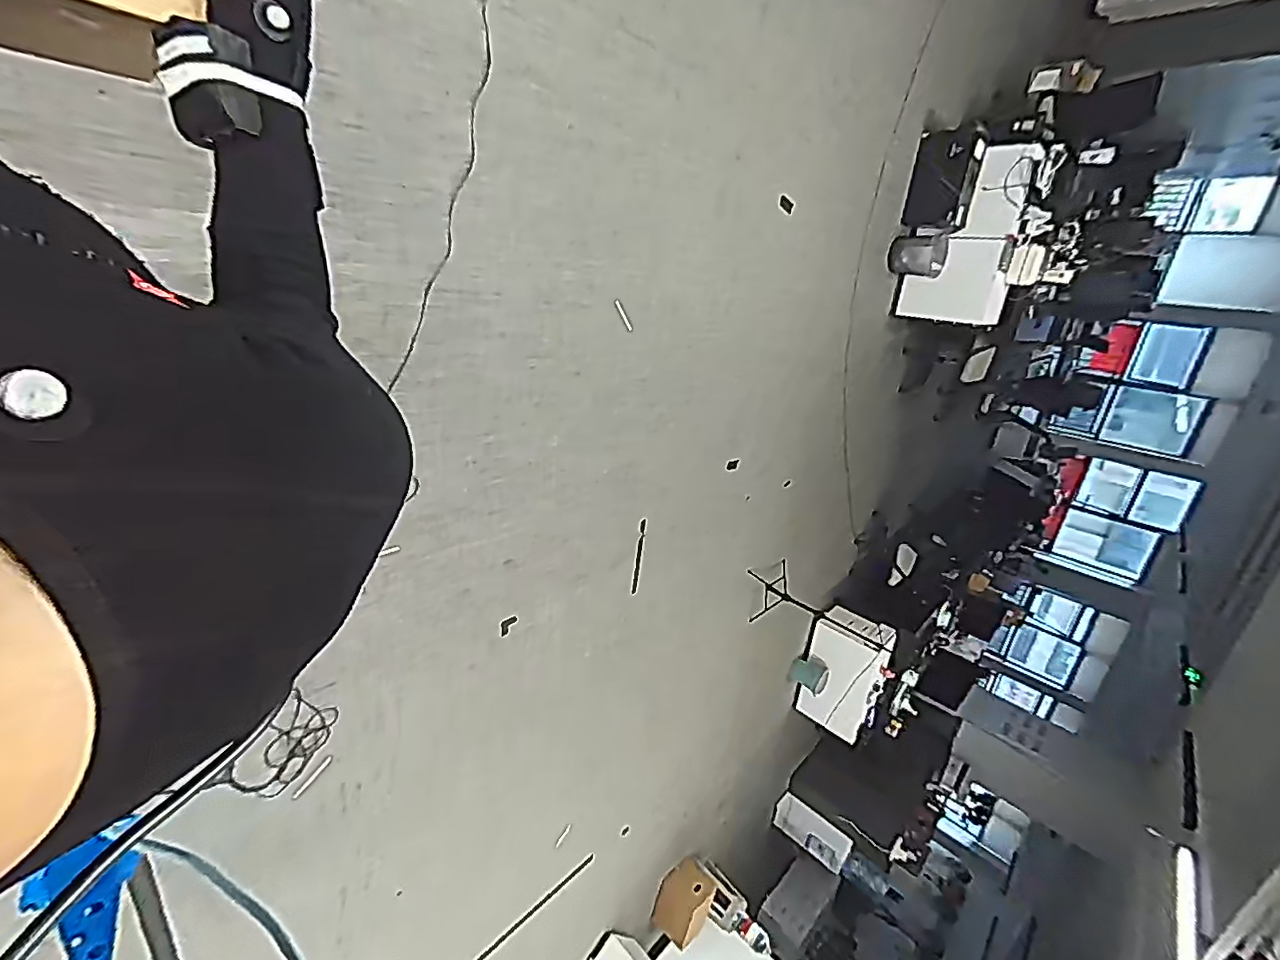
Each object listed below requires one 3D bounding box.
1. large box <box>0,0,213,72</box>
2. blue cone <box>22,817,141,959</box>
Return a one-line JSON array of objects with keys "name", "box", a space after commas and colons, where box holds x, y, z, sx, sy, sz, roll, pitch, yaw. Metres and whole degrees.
[{"name": "large box", "box": [-0.536, -0.474, 0.285, 0.408, 0.320, 0.320, -17, 123, -45]}, {"name": "blue cone", "box": [-1.251, 0.983, 1.224, 0.193, 0.380, 0.192, 14, 98, -50]}]
